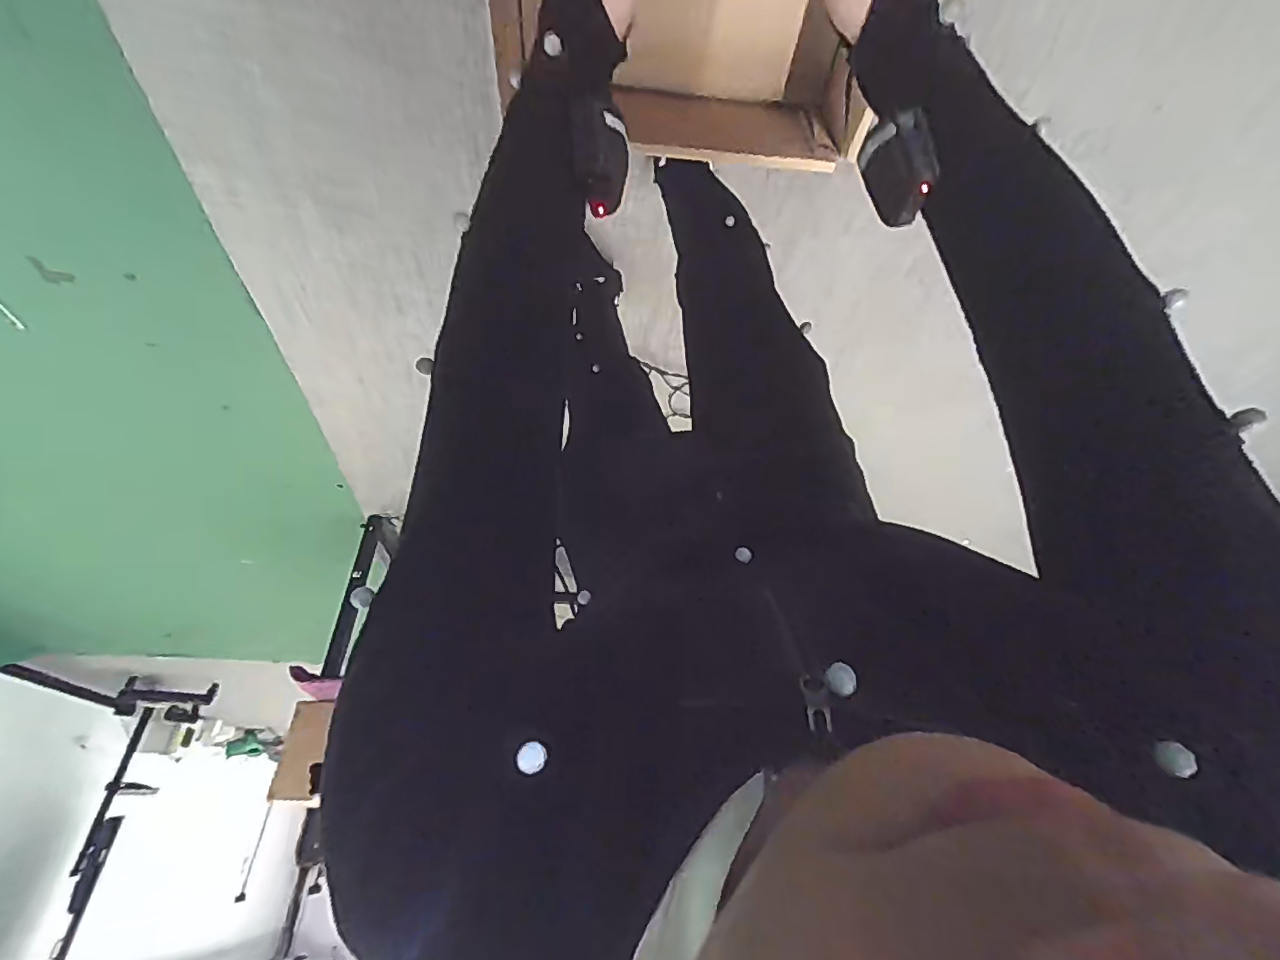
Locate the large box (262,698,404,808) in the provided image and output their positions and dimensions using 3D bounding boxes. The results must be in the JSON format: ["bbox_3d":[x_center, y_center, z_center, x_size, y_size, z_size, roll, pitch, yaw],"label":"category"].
[{"bbox_3d":[-1.112,1.027,2.020,0.320,0.320,0.408,4,145,-9],"label":"large box"}]
